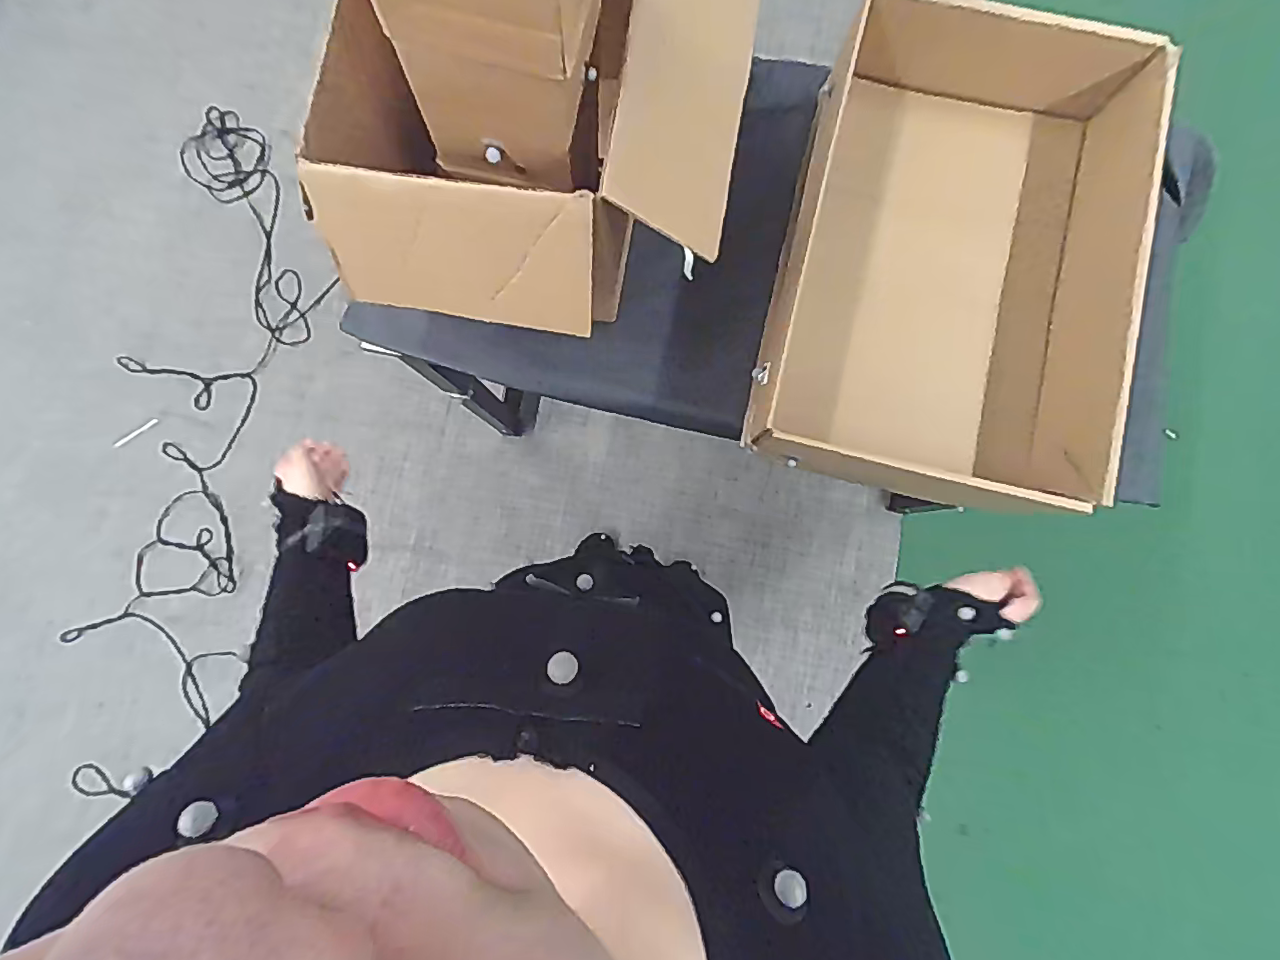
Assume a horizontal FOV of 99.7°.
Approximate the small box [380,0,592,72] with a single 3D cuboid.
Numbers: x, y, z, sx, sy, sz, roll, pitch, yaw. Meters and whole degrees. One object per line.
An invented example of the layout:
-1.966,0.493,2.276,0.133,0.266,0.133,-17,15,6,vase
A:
-0.128,-0.479,0.434,0.179,0.176,0.168,12,82,-3,small box
